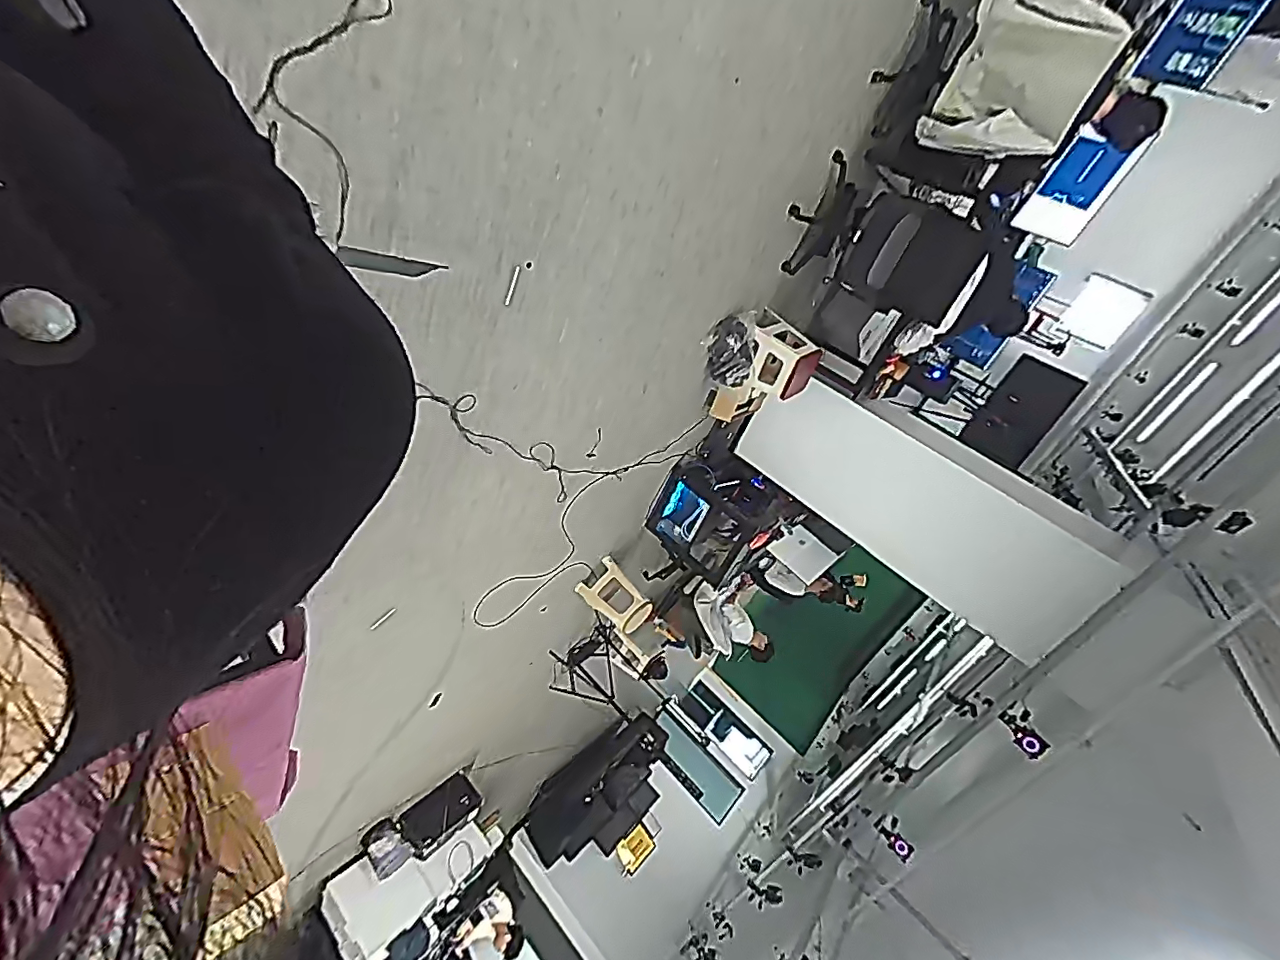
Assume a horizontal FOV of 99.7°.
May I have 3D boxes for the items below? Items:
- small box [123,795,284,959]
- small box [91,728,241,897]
[{"bbox_3d":[-0.742,0.690,0.921,0.179,0.176,0.168,-20,144,-50],"label":"small box"},{"bbox_3d":[-0.857,0.595,0.984,0.168,0.176,0.179,-19,141,-51],"label":"small box"}]
